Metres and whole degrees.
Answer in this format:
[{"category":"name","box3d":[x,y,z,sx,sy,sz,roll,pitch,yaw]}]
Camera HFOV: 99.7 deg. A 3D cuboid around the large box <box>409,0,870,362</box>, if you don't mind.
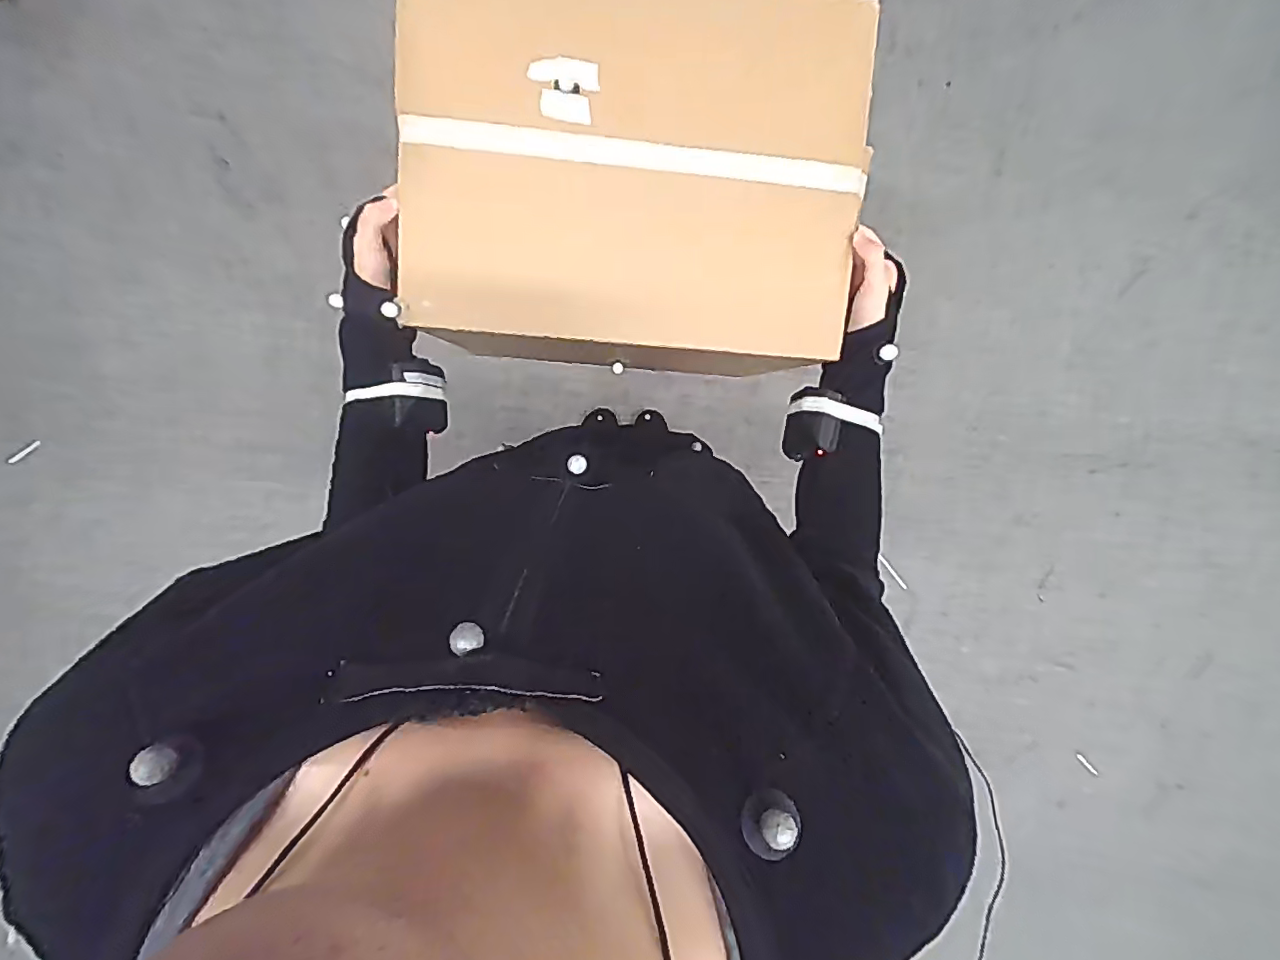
[{"category":"large box","box3d":[-0.012,-0.309,0.629,0.408,0.320,0.320,3,98,-6]}]
